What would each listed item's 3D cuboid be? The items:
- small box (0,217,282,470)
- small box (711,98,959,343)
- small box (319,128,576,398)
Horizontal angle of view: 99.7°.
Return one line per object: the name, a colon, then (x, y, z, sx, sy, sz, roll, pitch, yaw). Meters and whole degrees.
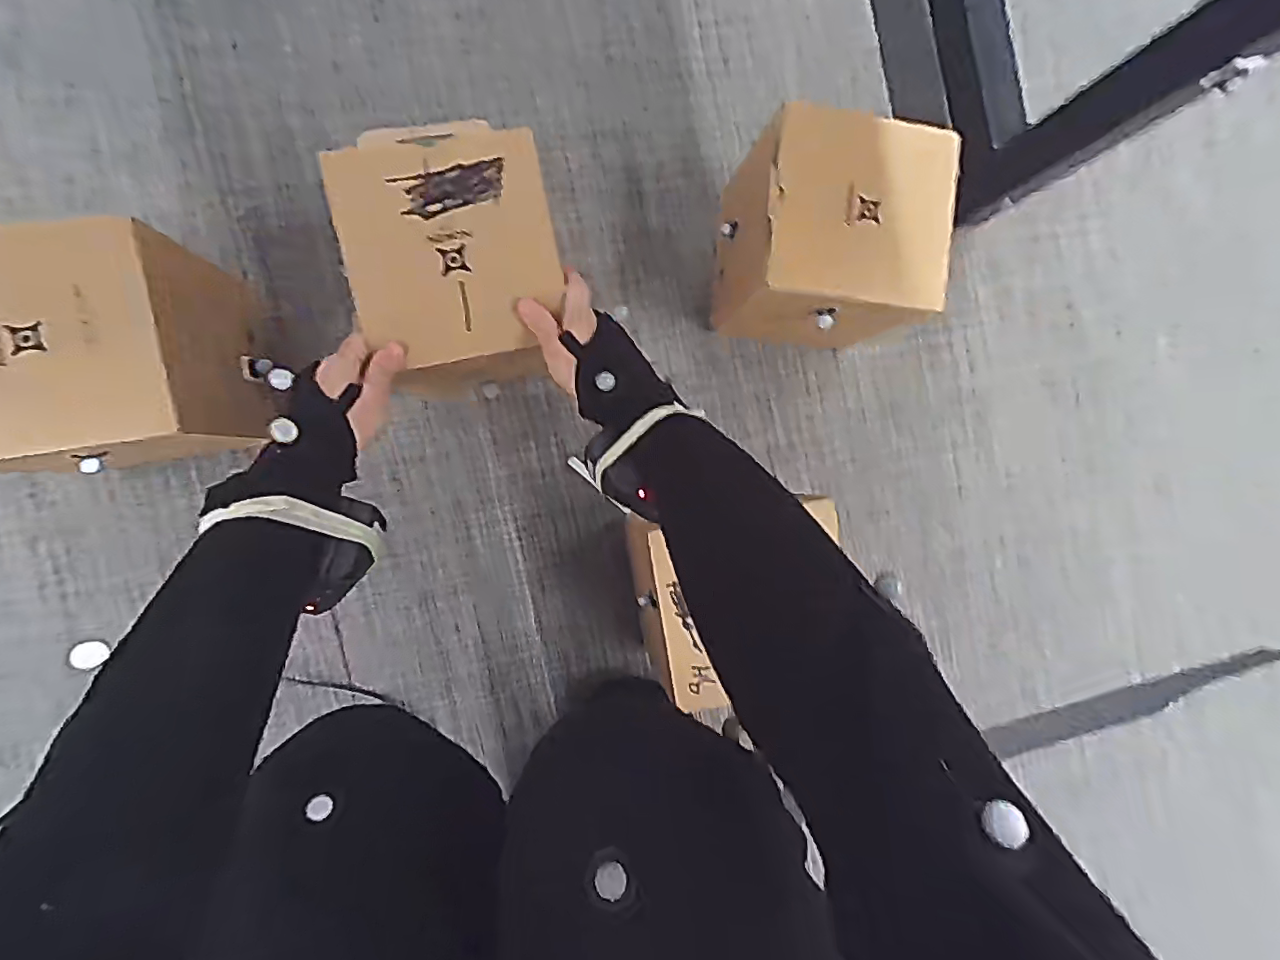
small box: (-0.452, -0.100, 0.464, 0.179, 0.176, 0.168, -10, 94, -10)
small box: (0.186, -0.245, 0.559, 0.179, 0.176, 0.168, 4, 91, -8)
small box: (-0.161, -0.184, 0.505, 0.168, 0.176, 0.179, -13, 95, -8)
